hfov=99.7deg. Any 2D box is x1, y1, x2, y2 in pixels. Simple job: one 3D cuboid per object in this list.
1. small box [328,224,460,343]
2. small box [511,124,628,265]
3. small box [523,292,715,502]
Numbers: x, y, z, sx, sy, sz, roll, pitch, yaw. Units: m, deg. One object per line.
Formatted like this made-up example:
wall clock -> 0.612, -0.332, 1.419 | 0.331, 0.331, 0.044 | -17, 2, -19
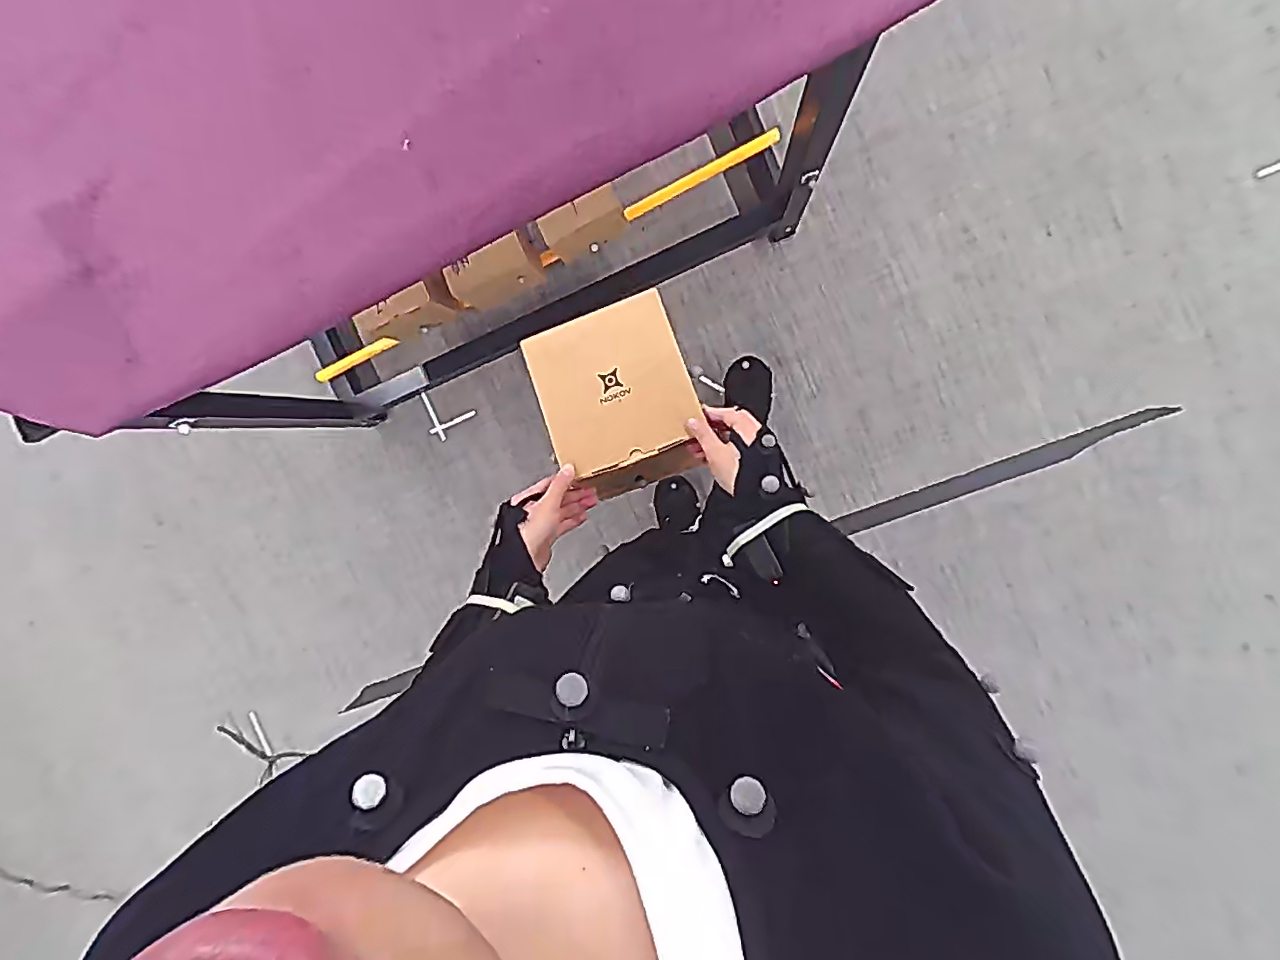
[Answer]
small box -> -0.528, -0.419, 1.183 | 0.168, 0.176, 0.179 | -22, 95, 8
small box -> -0.139, -0.580, 1.124 | 0.168, 0.176, 0.179 | -24, 95, 9
small box -> -0.017, -0.086, 0.651 | 0.168, 0.176, 0.179 | -20, 80, 4
